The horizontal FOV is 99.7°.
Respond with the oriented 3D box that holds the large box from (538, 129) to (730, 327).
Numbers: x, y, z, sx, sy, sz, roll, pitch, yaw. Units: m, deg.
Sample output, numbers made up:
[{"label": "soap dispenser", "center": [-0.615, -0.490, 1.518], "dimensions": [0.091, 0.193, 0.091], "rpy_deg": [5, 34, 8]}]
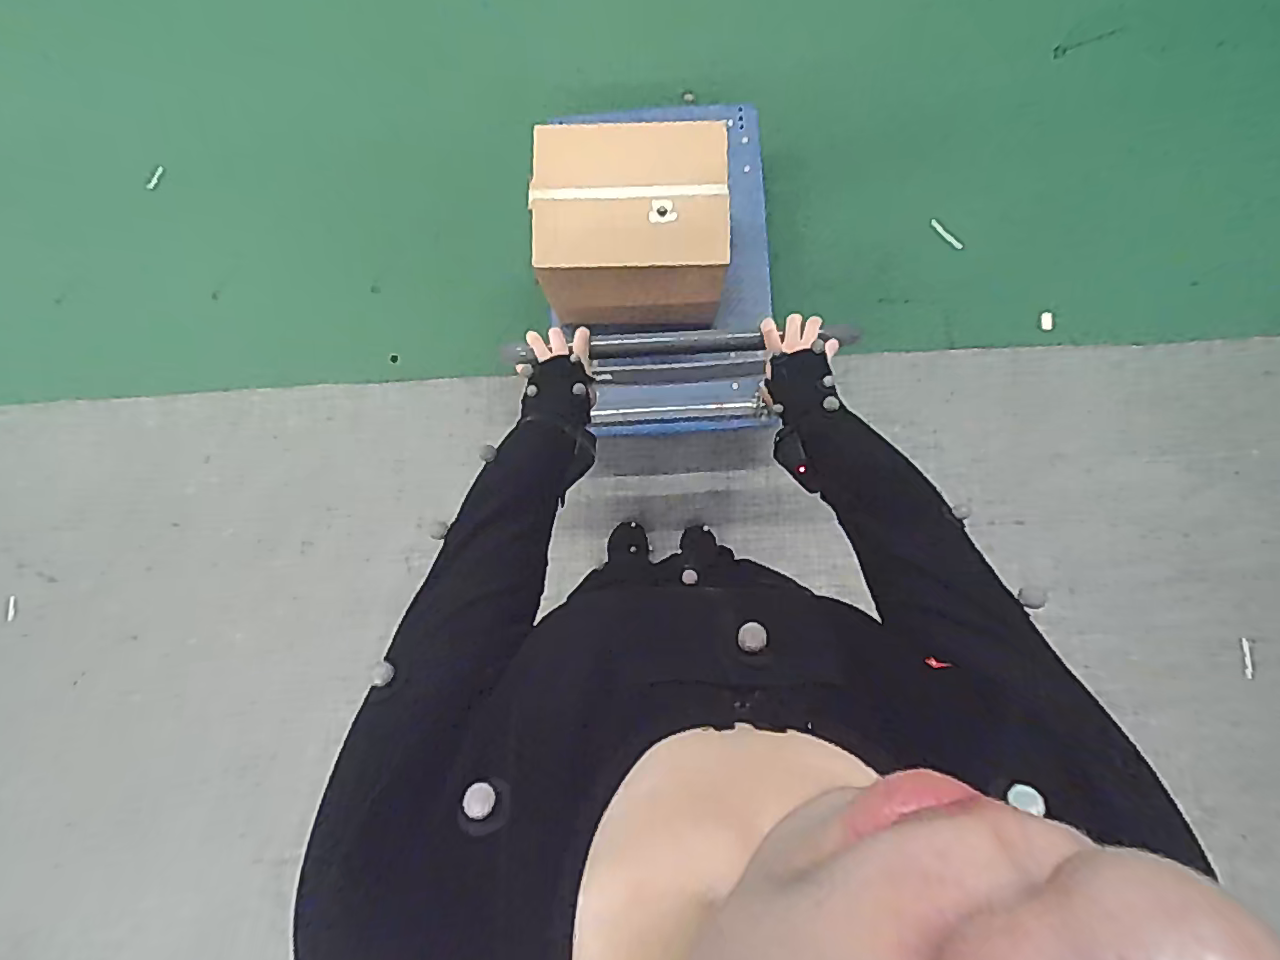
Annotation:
[{"label": "large box", "center": [-0.015, -0.571, 1.277], "dimensions": [0.408, 0.320, 0.320], "rpy_deg": [-1, 84, 1]}]
